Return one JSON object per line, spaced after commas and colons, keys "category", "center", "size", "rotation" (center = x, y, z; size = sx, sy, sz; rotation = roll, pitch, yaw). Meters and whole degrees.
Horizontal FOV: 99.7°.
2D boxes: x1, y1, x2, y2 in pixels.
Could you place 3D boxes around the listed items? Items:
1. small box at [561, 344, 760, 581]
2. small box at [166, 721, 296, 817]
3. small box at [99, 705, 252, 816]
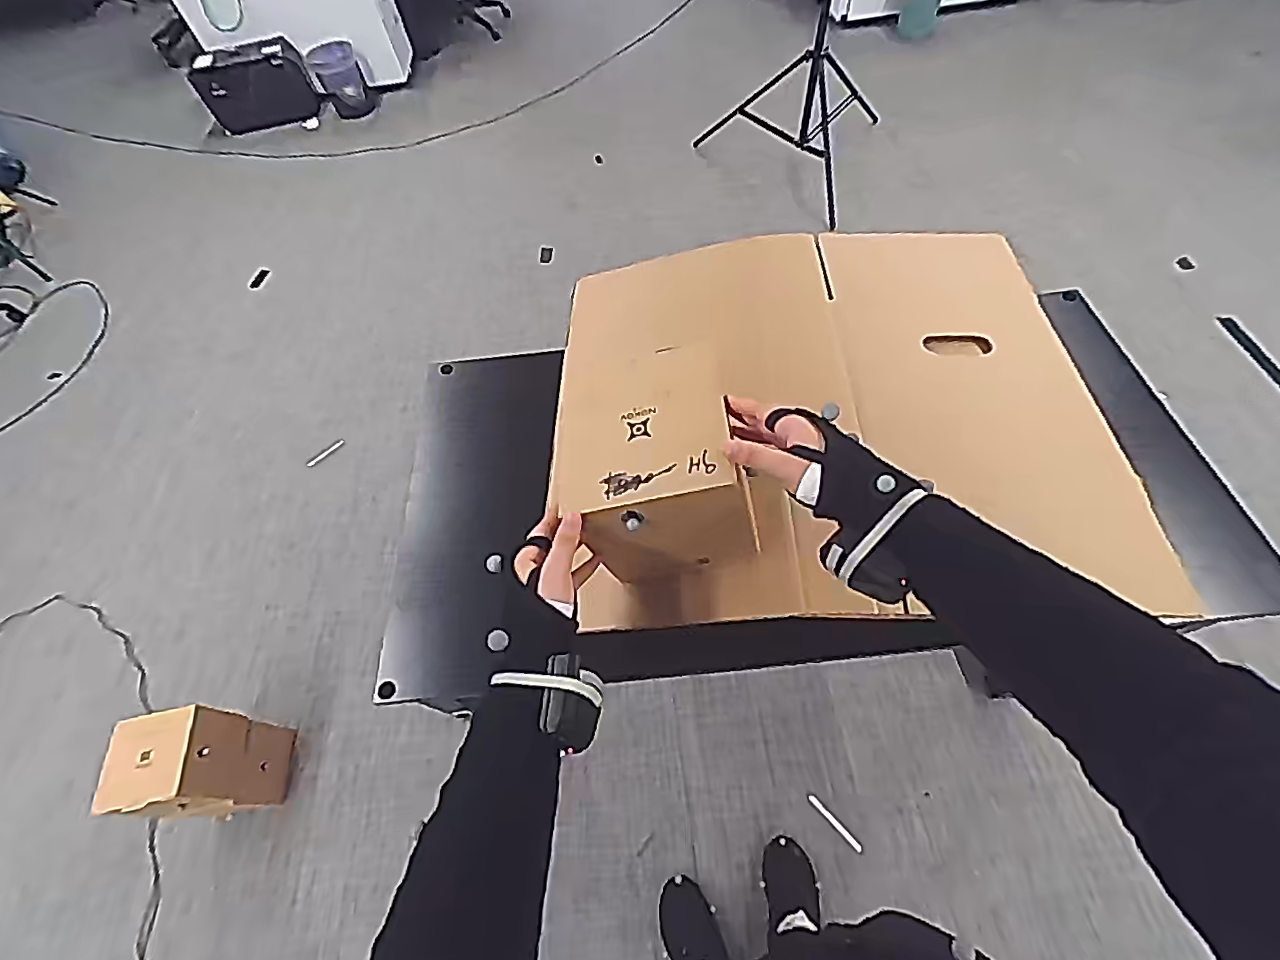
{"category": "small box", "center": [0.027, -0.011, 0.583], "size": [0.168, 0.176, 0.179], "rotation": [-12, 56, 14]}
{"category": "small box", "center": [-0.960, 0.693, 1.291], "size": [0.168, 0.176, 0.179], "rotation": [-10, 59, 0]}
{"category": "small box", "center": [-0.976, 0.603, 1.157], "size": [0.168, 0.176, 0.179], "rotation": [-12, 57, -3]}
